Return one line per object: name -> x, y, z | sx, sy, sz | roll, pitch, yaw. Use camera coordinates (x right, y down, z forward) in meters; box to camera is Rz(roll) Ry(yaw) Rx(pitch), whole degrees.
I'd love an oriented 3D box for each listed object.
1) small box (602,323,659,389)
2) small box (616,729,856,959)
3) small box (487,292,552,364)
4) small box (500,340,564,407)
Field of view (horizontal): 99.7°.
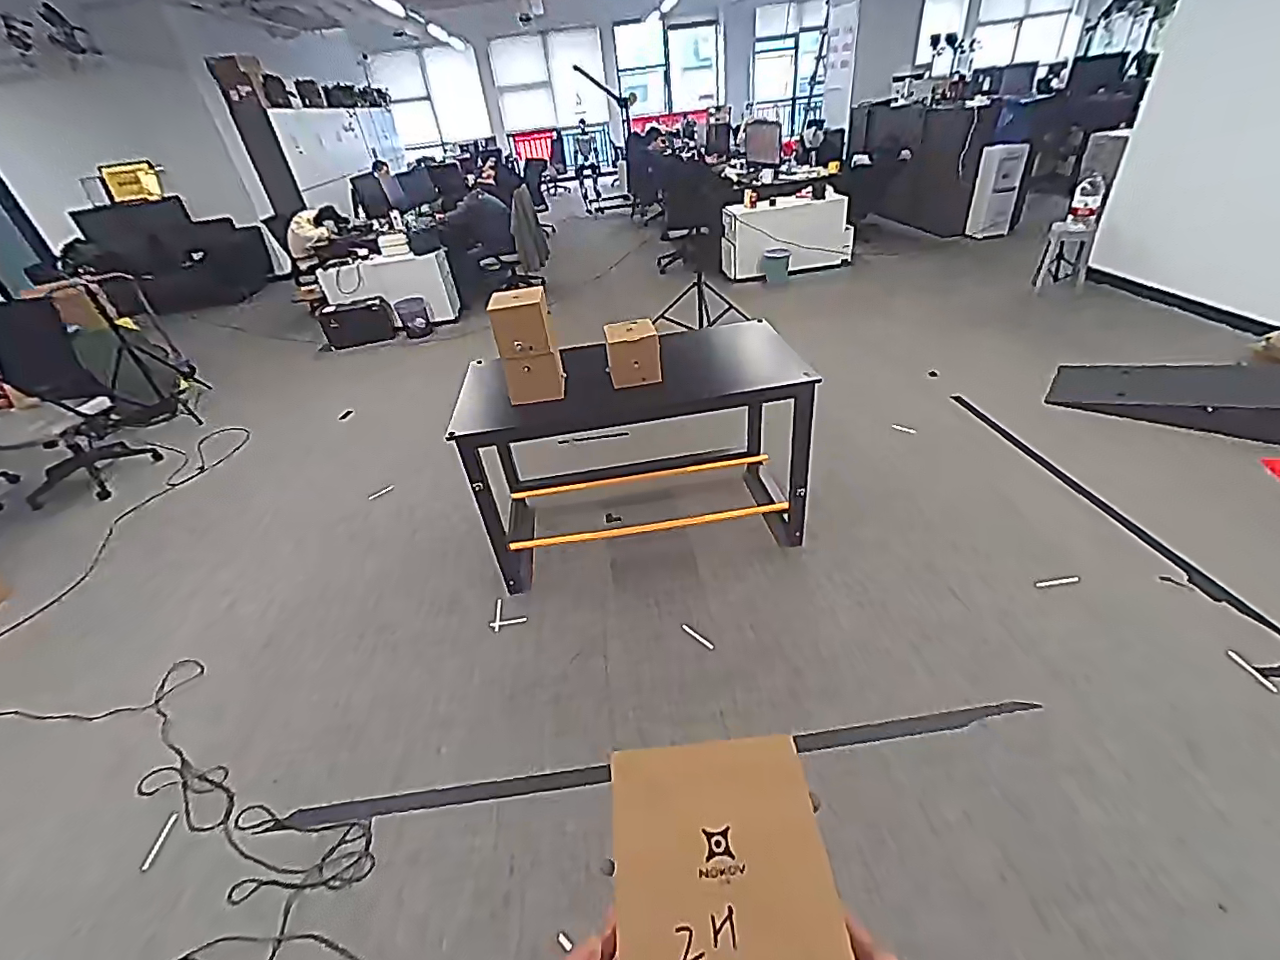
small box -> -0.033, -0.423, 1.871 | 0.168, 0.176, 0.179 | -10, 35, -3
small box -> 0.068, 0.351, 0.478 | 0.168, 0.176, 0.179 | -6, 41, 0
small box -> -0.384, -0.493, 1.750 | 0.168, 0.176, 0.179 | -10, 36, -1
small box -> -0.364, -0.362, 1.844 | 0.179, 0.176, 0.168 | -8, 35, -2
